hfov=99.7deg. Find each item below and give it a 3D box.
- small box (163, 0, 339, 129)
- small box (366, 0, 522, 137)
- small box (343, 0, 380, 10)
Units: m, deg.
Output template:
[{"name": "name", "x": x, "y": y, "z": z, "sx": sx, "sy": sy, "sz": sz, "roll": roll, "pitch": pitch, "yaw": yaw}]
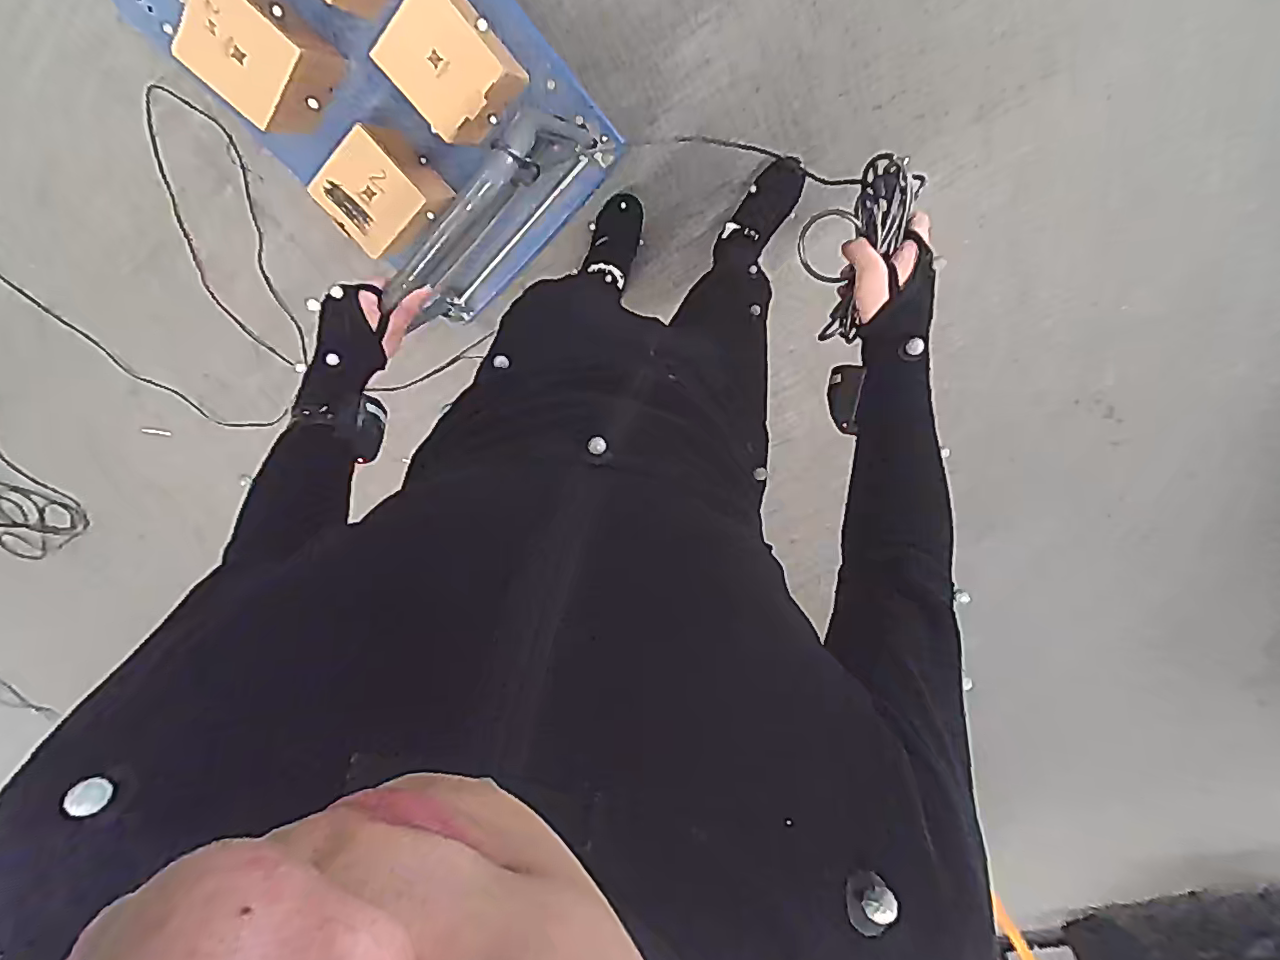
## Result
[{"name": "small box", "x": -0.697, "y": -0.783, "z": 0.990, "sx": 0.179, "sy": 0.176, "sz": 0.168, "roll": 40, "pitch": 116, "yaw": -20}, {"name": "small box", "x": -0.345, "y": -0.757, "z": 0.983, "sx": 0.168, "sy": 0.176, "sz": 0.179, "roll": -36, "pitch": 114, "yaw": 23}, {"name": "small box", "x": -0.513, "y": -0.927, "z": 0.885, "sx": 0.168, "sy": 0.176, "sz": 0.179, "roll": -38, "pitch": 114, "yaw": 25}]
